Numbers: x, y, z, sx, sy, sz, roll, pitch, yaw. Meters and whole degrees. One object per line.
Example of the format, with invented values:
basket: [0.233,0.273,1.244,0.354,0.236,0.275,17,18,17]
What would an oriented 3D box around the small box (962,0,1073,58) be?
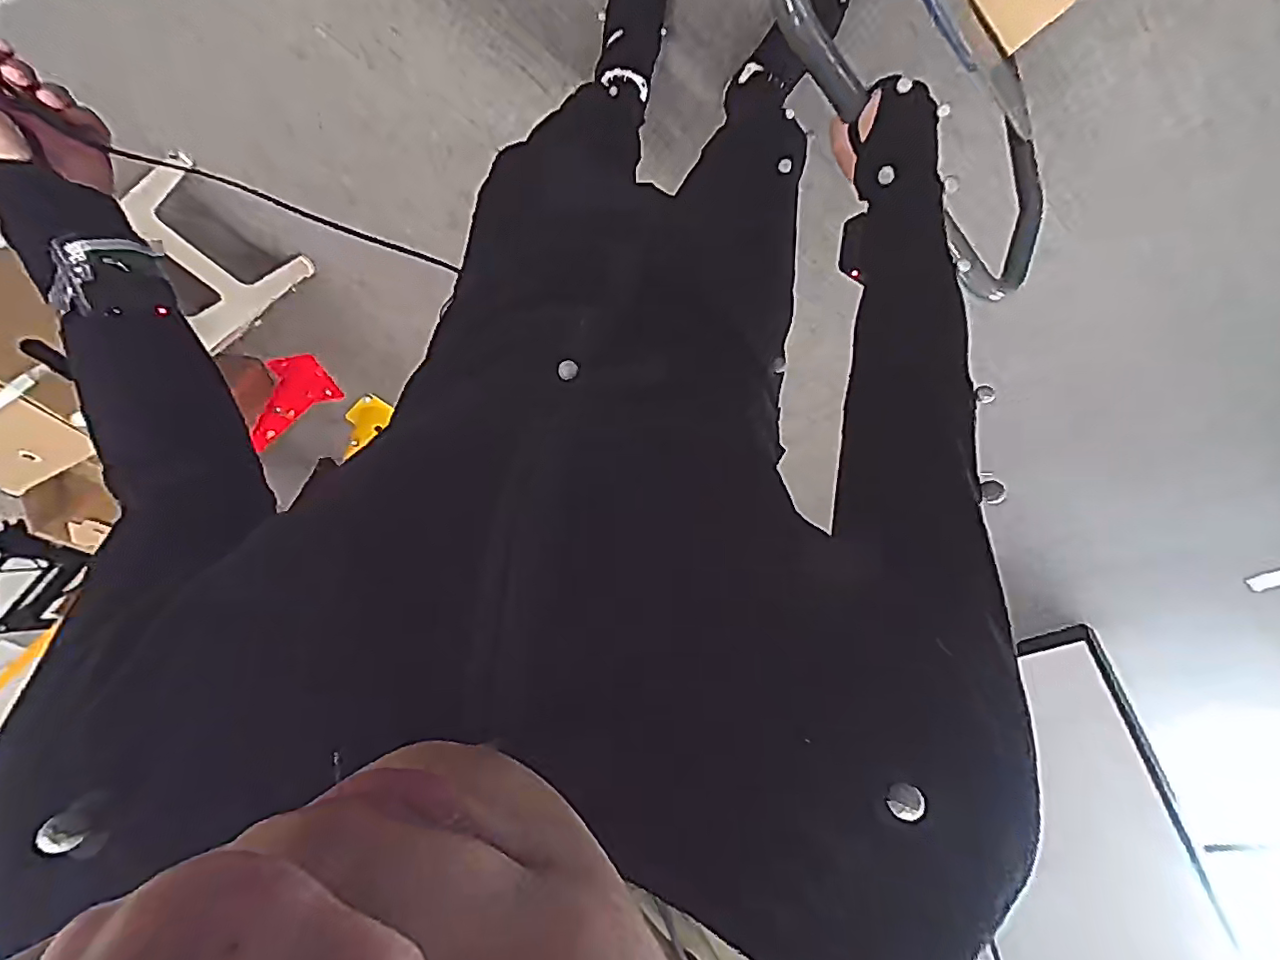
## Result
small box: [0.570,-0.802,0.808,0.179,0.176,0.168,29,146,-26]
